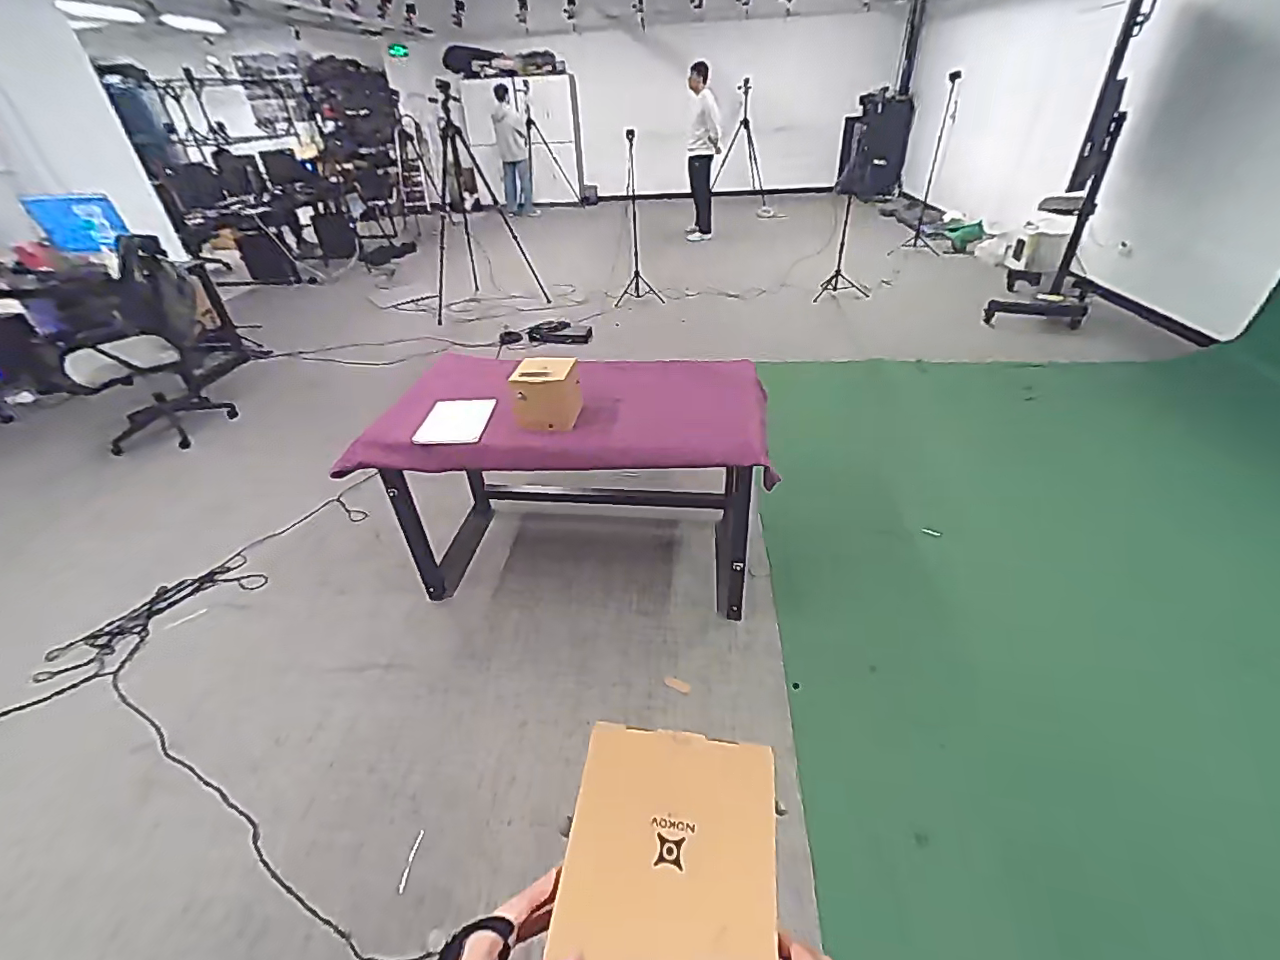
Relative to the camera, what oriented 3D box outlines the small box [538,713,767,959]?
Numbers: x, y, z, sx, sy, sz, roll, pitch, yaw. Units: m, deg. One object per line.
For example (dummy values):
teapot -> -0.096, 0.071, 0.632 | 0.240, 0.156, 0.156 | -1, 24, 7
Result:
small box -> 0.023, 0.341, 0.487 | 0.168, 0.176, 0.179 | 4, 43, 7
